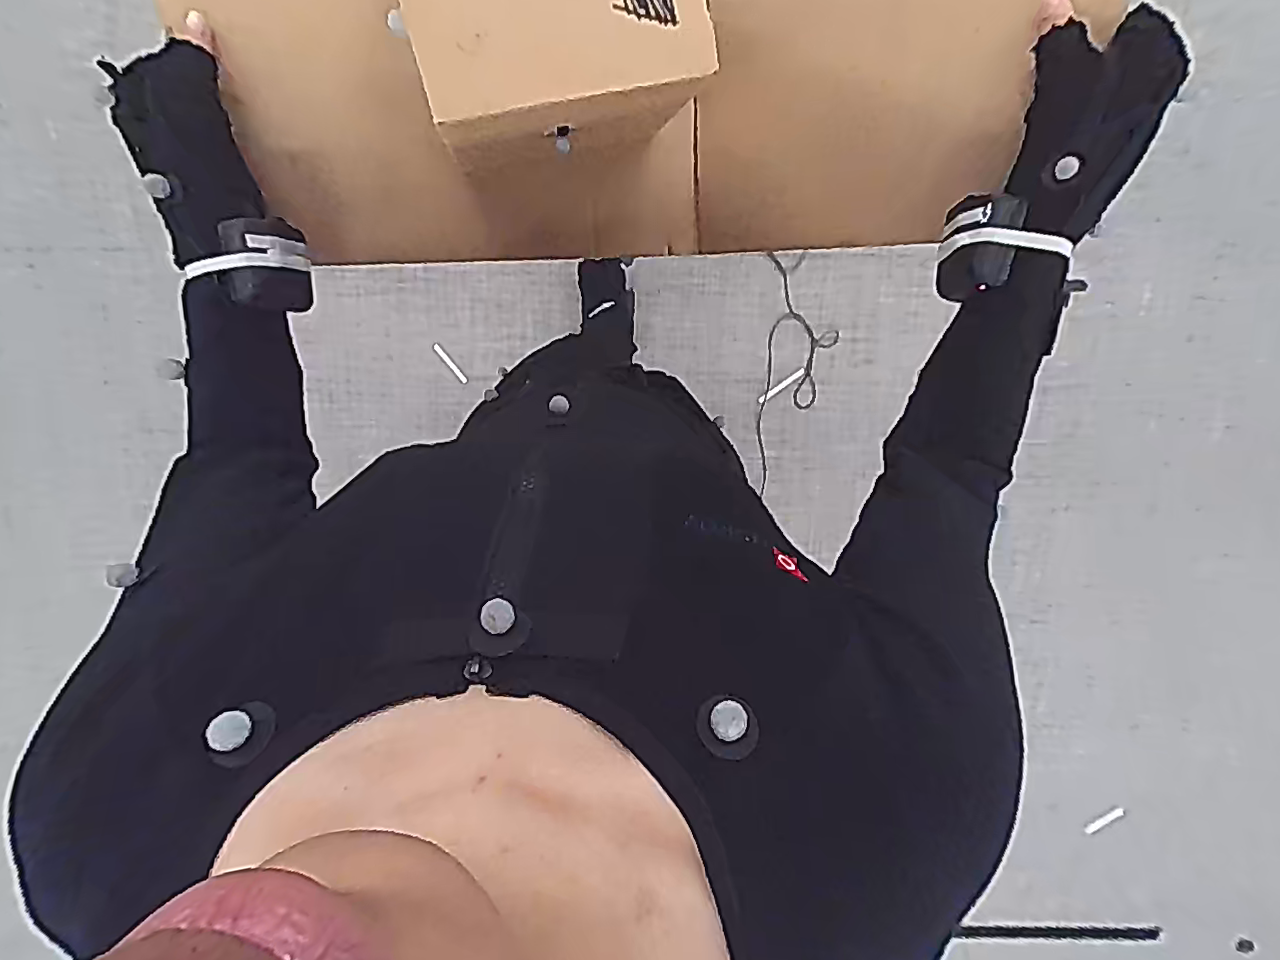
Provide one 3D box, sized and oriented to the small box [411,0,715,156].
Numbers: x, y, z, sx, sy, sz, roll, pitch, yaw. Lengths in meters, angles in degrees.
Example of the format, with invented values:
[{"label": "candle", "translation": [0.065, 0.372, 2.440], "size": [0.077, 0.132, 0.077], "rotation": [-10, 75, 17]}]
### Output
[{"label": "small box", "translation": [-0.066, -0.342, 0.371], "size": [0.179, 0.176, 0.168], "rotation": [-15, 113, -6]}]
